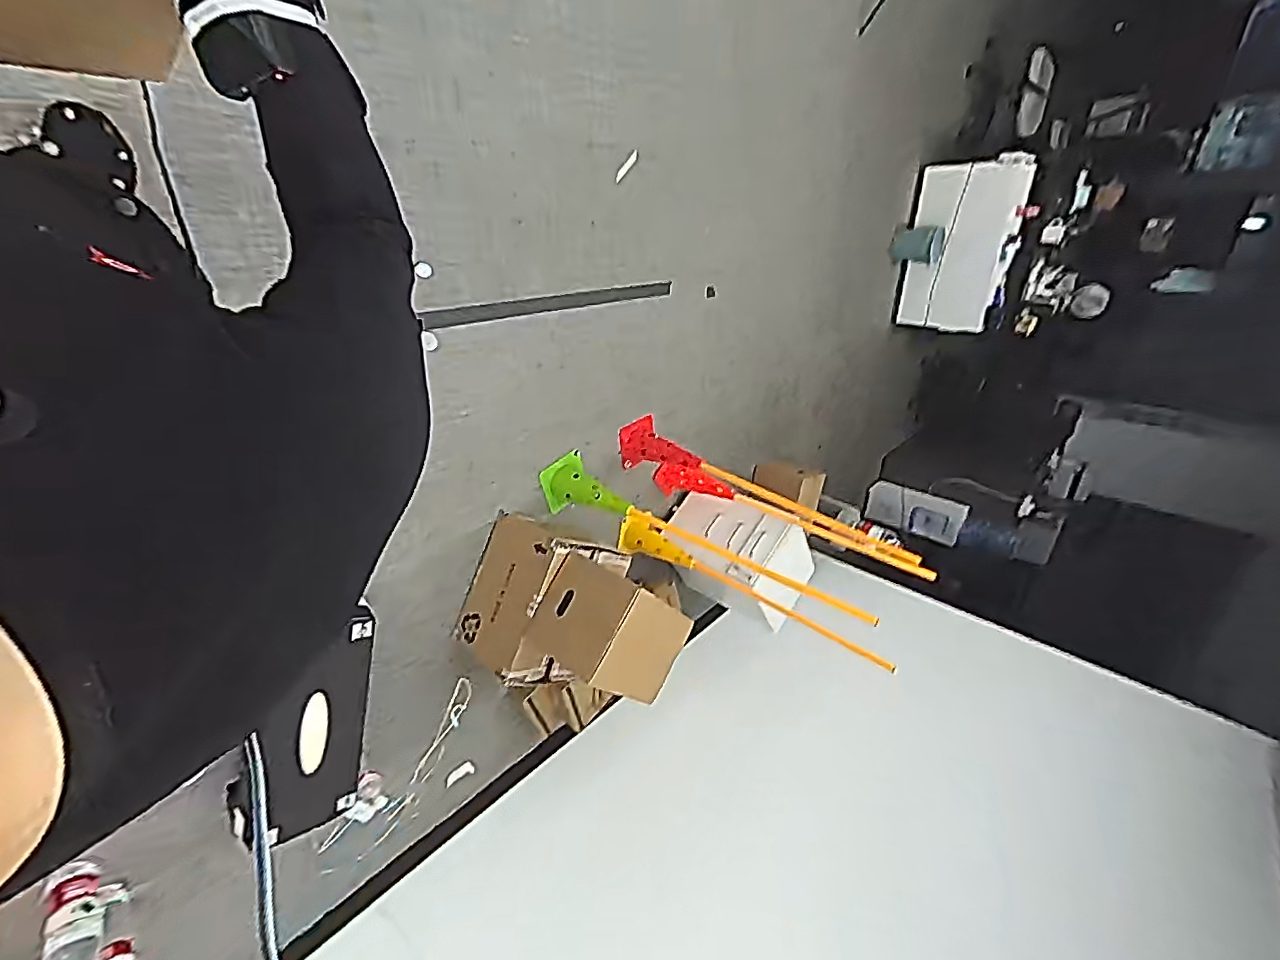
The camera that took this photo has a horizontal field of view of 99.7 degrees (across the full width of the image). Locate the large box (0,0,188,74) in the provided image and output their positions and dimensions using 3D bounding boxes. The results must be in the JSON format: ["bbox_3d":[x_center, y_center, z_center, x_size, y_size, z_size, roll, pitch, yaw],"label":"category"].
[{"bbox_3d":[-0.530,-0.450,0.266,0.408,0.320,0.320,-22,121,-39],"label":"large box"}]
